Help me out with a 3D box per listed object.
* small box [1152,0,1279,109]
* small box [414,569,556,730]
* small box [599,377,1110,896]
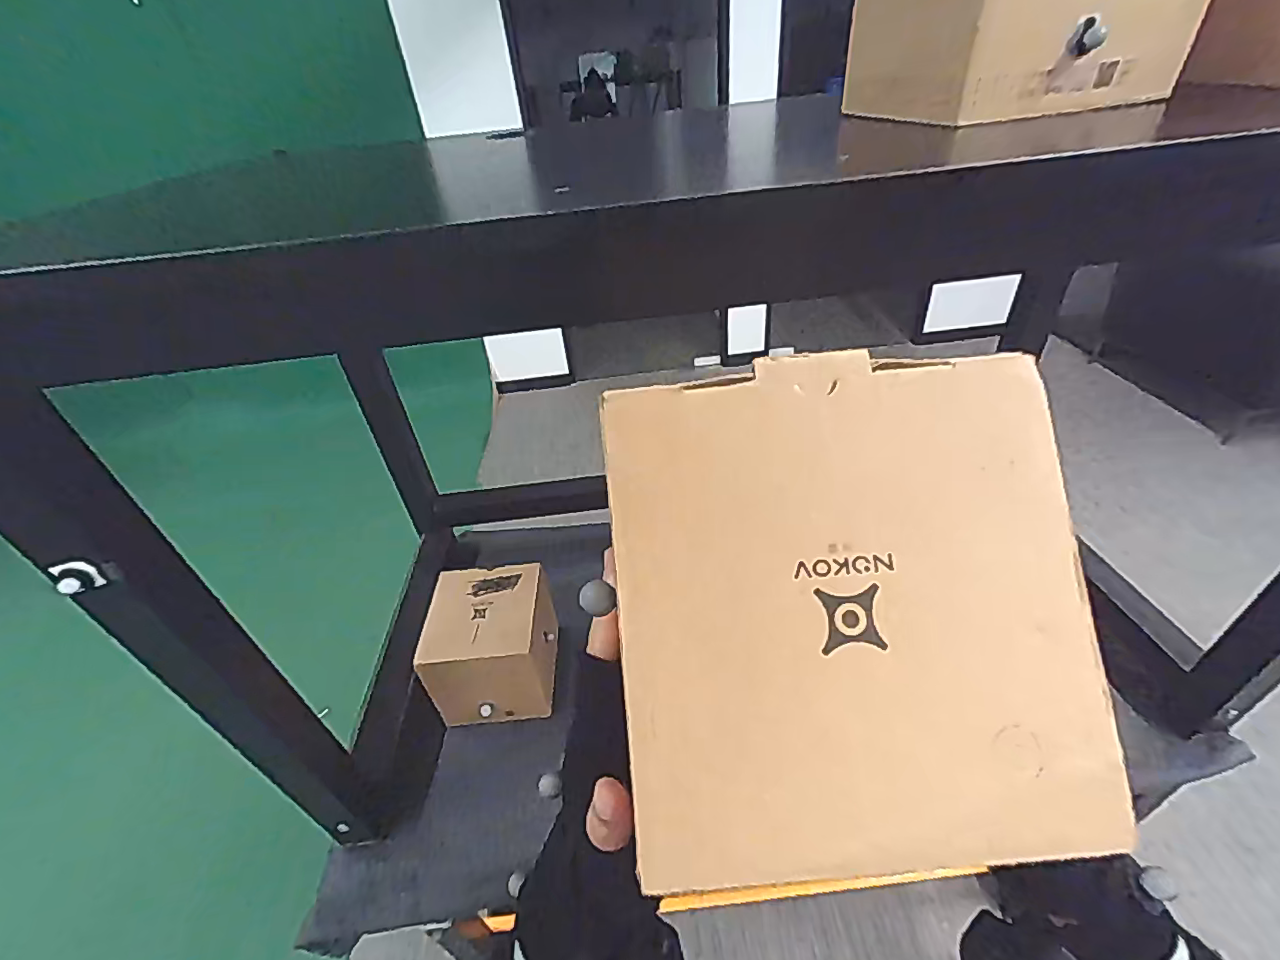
[{"bbox_3d":[0.526,-0.364,0.371,0.168,0.176,0.179,0,37,8],"label":"small box"},{"bbox_3d":[-0.231,0.267,0.859,0.168,0.176,0.179,-6,37,0],"label":"small box"},{"bbox_3d":[0.073,0.064,0.276,0.168,0.176,0.179,-5,80,0],"label":"small box"}]
